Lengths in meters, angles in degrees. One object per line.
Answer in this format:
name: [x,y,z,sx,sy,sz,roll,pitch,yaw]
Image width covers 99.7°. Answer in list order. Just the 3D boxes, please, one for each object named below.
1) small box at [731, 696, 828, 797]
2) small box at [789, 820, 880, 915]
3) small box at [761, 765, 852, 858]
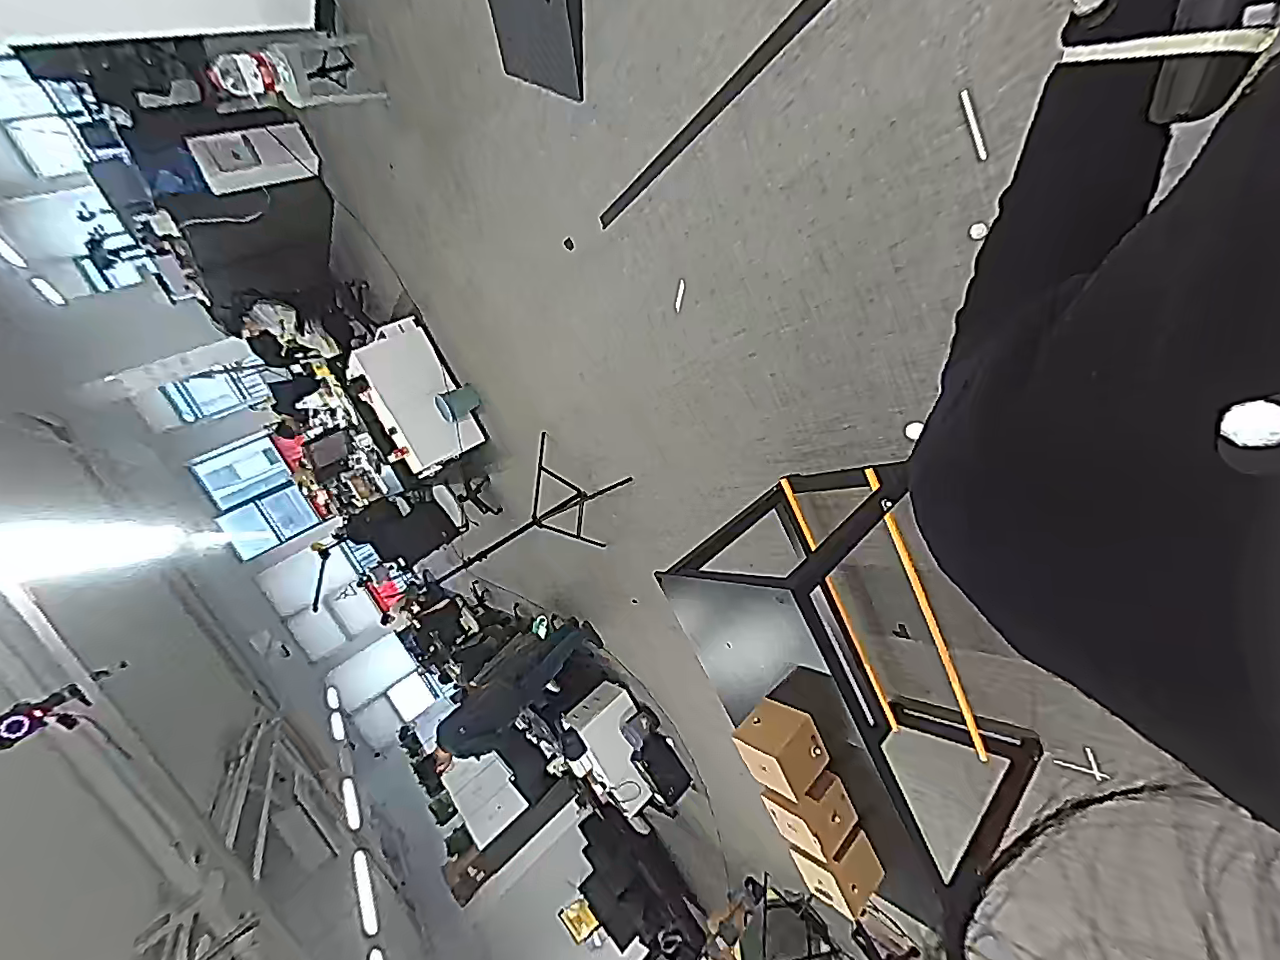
small box: [0.401,0.751,1.549,0.179,0.176,0.168,-7,114,57]
small box: [0.592,1.139,1.637,0.168,0.176,0.179,-12,107,59]
small box: [0.497,0.950,1.596,0.179,0.176,0.168,-8,112,57]
